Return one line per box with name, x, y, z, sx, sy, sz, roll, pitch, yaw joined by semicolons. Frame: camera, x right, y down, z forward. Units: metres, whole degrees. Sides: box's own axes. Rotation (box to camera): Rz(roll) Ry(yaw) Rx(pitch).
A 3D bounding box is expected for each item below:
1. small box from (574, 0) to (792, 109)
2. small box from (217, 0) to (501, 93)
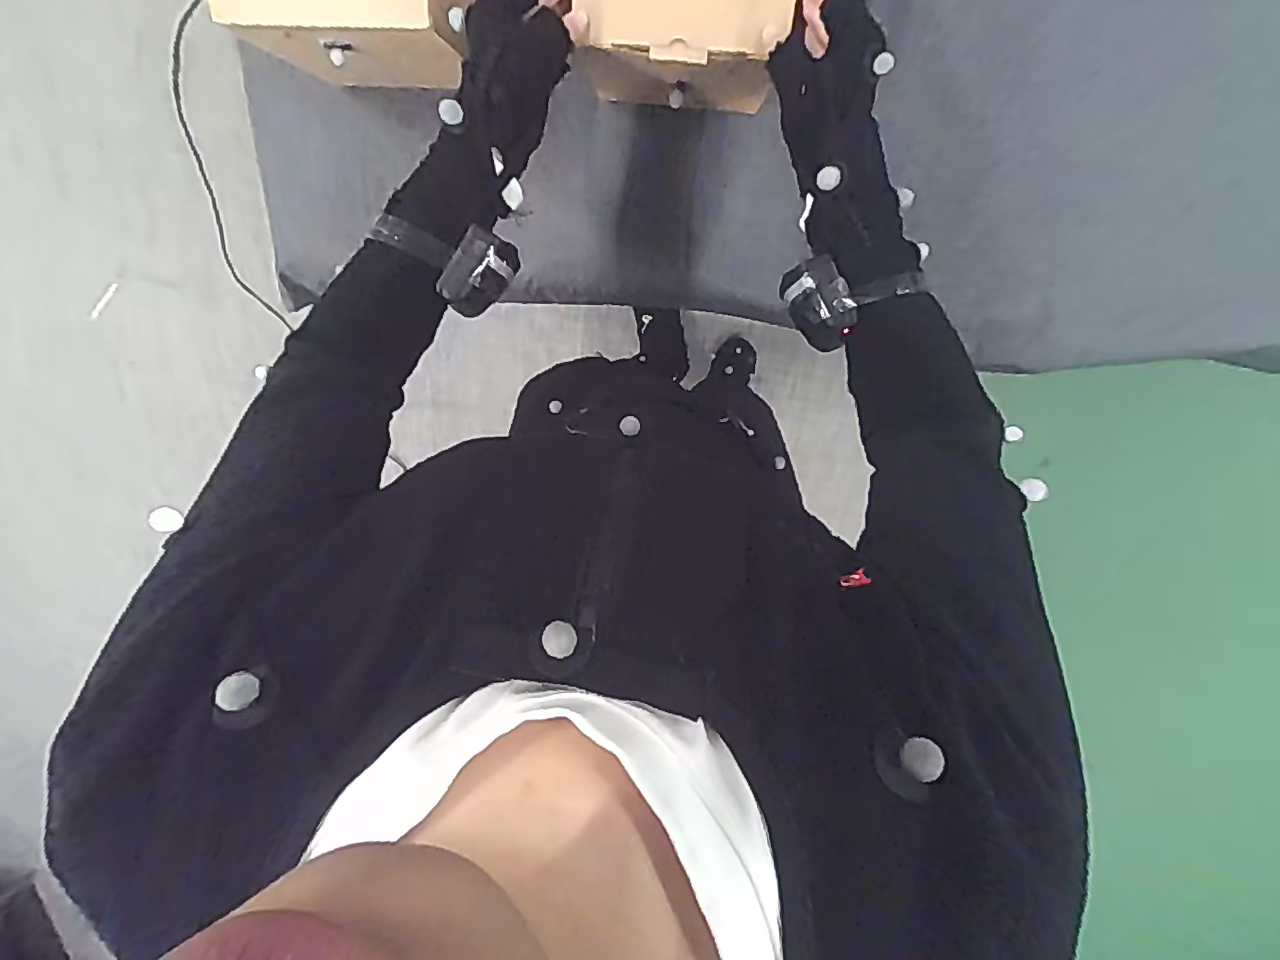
small box;0.044;-0.432;0.453;0.168;0.176;0.179;6;114;3
small box;-0.234;-0.454;0.466;0.179;0.176;0.168;3;113;3
